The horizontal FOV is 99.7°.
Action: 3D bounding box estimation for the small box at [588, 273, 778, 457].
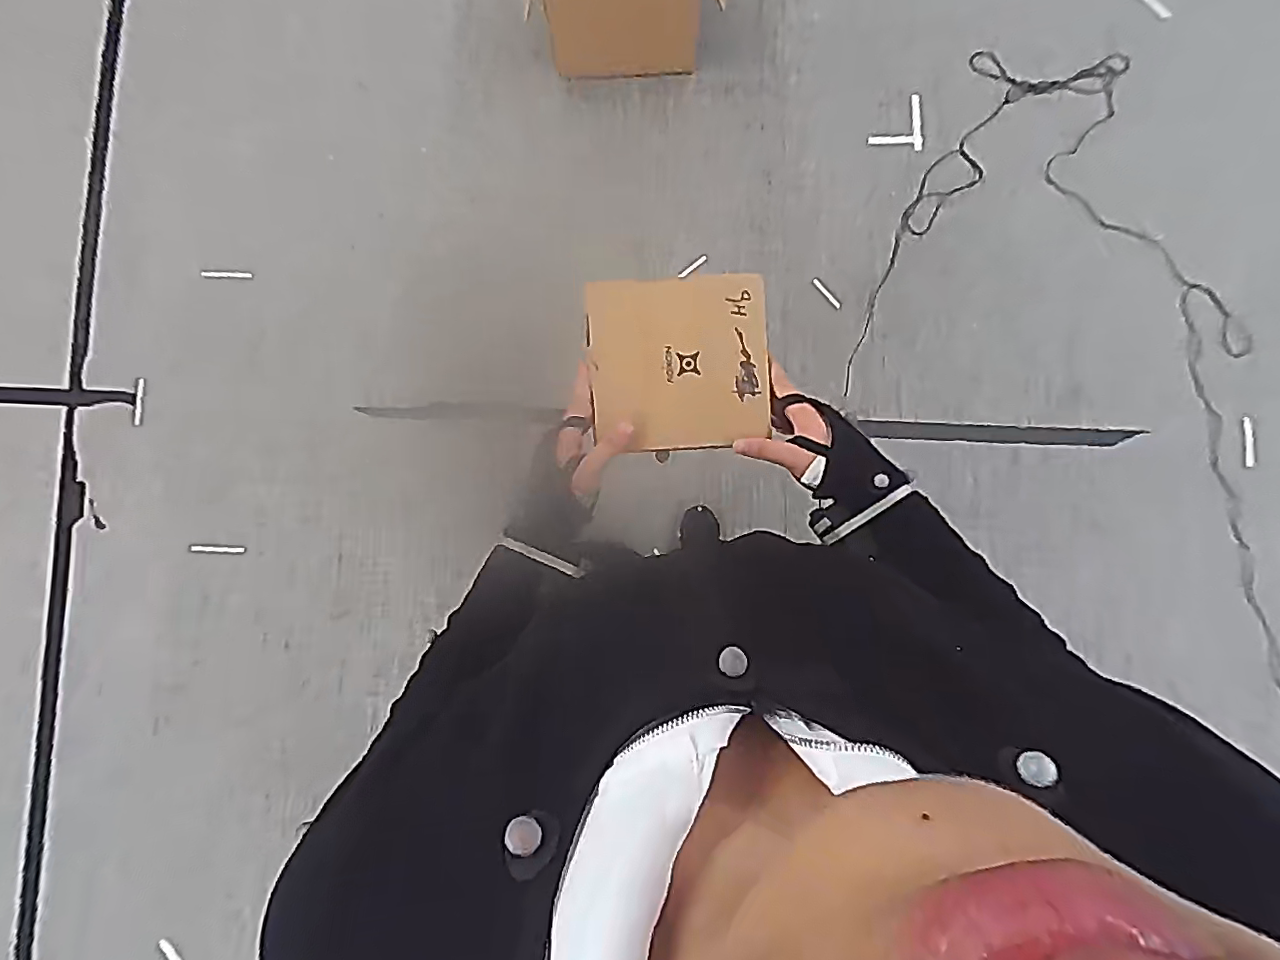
[{"bbox_3d":[0.040,-0.113,0.595,0.179,0.176,0.168,-4,91,-2],"label":"small box"}]
